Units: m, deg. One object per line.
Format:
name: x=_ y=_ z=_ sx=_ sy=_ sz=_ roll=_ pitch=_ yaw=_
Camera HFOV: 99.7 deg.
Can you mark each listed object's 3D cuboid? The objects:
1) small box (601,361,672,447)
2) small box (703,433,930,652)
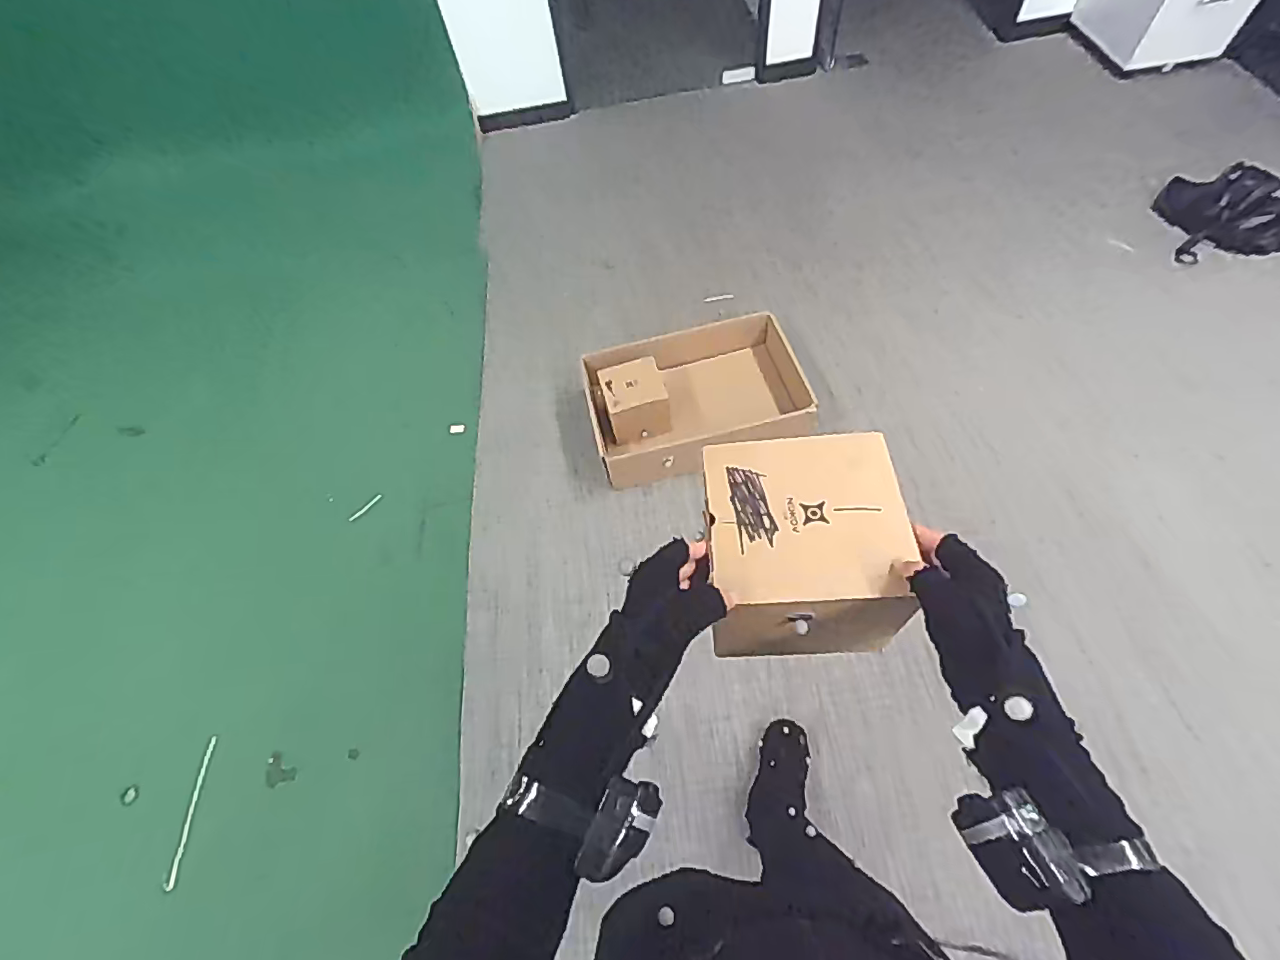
small box: x=-0.007 y=-0.224 z=1.614 sx=0.179 sy=0.176 sz=0.168 roll=-15 pitch=59 yaw=-4
small box: x=0.160 y=0.072 z=0.553 sx=0.179 sy=0.176 sz=0.168 roll=-4 pitch=58 yaw=5
